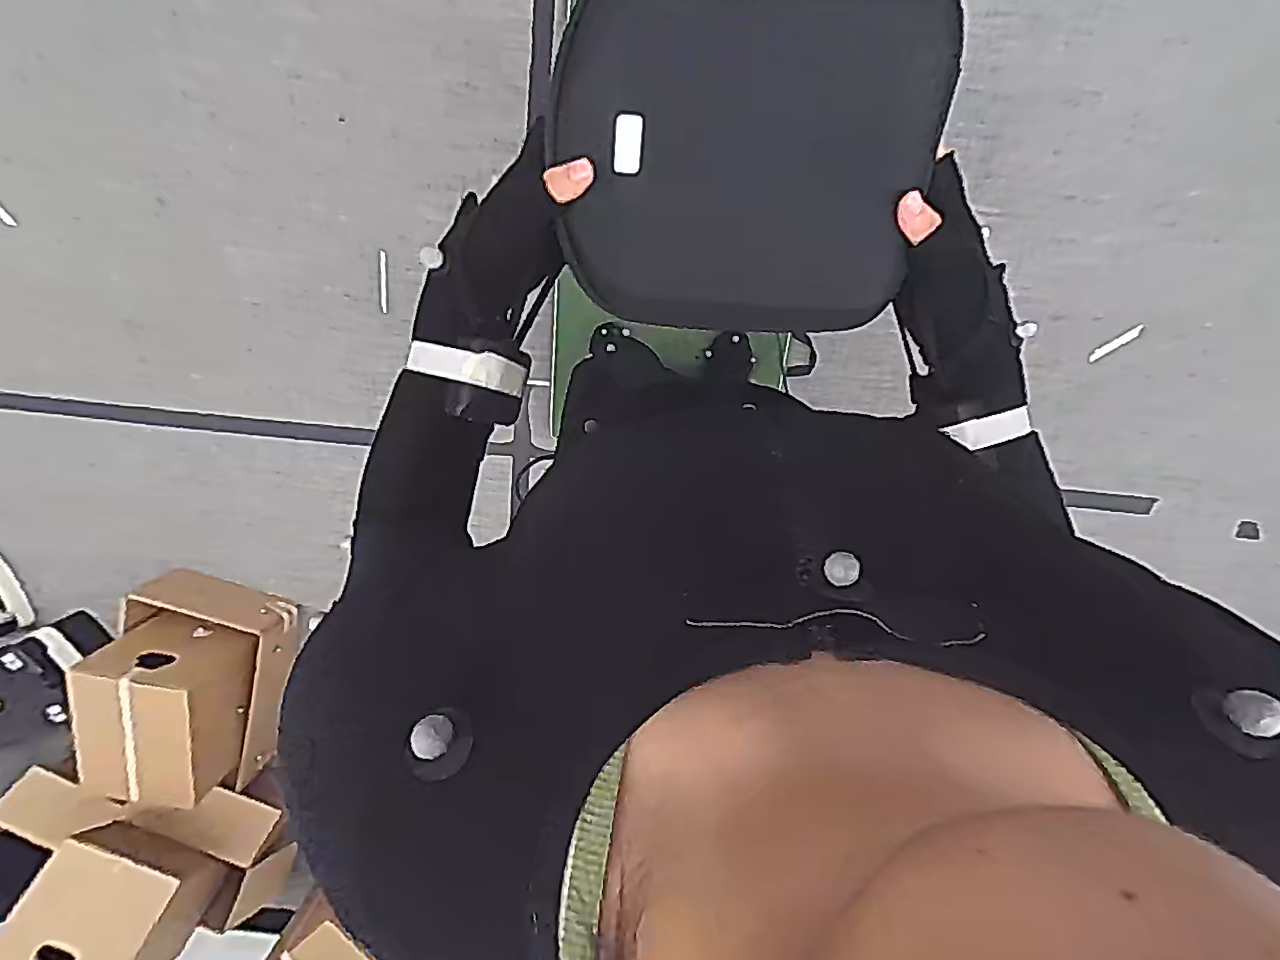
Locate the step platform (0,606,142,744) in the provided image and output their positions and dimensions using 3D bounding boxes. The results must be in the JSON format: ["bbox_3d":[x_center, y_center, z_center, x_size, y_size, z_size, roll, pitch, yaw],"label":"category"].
[{"bbox_3d":[-1.995,0.659,1.718,0.684,0.204,0.286,-23,105,8],"label":"step platform"}]
